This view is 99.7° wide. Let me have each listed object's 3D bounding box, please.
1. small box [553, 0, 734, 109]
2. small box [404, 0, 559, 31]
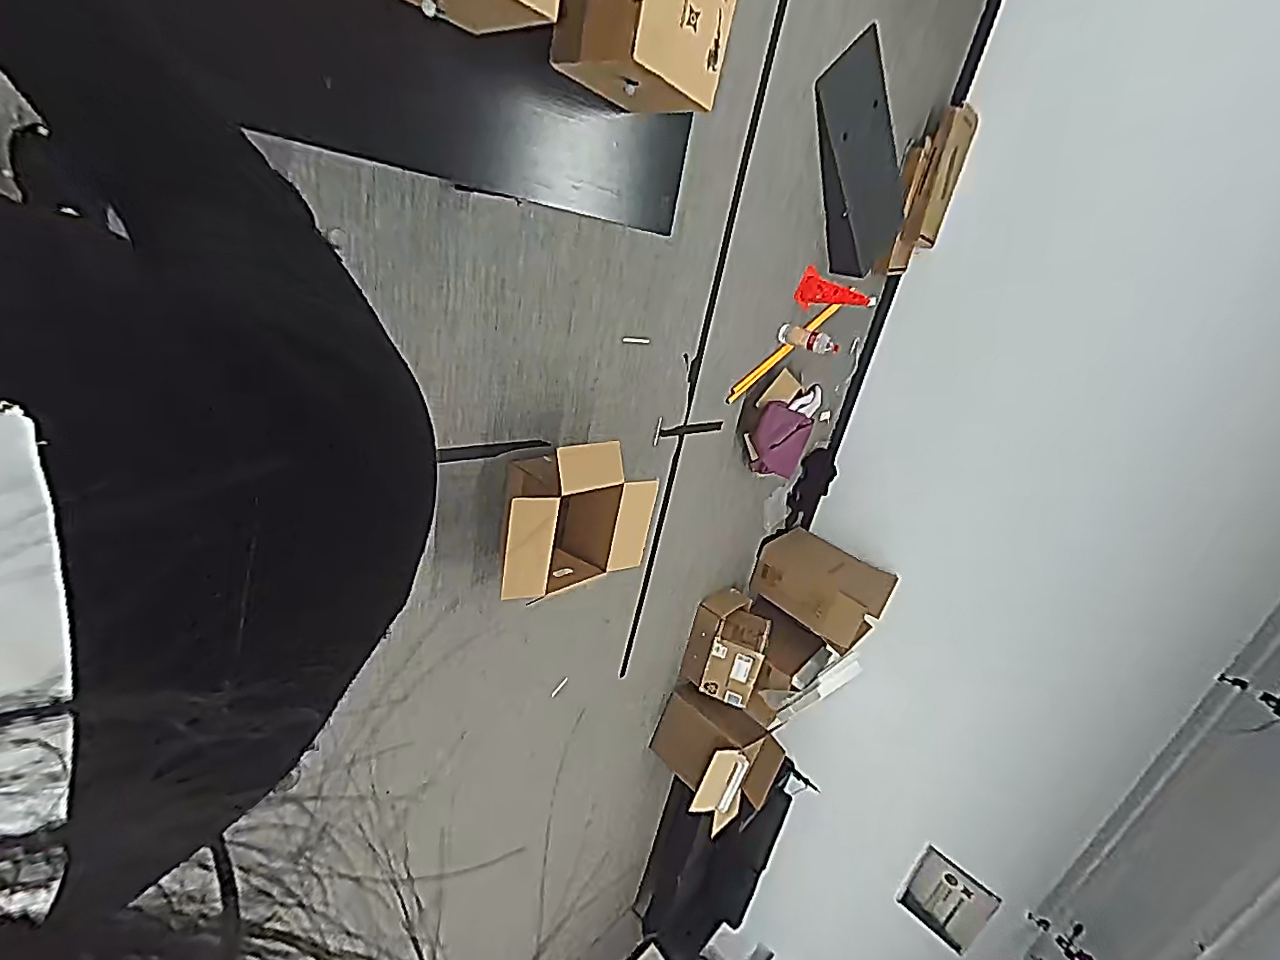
[{"bbox_3d":[0.002,-0.635,0.748,0.179,0.176,0.168,-9,120,-47],"label":"small box"},{"bbox_3d":[-0.187,-0.595,0.545,0.168,0.176,0.179,-13,124,-46],"label":"small box"}]
